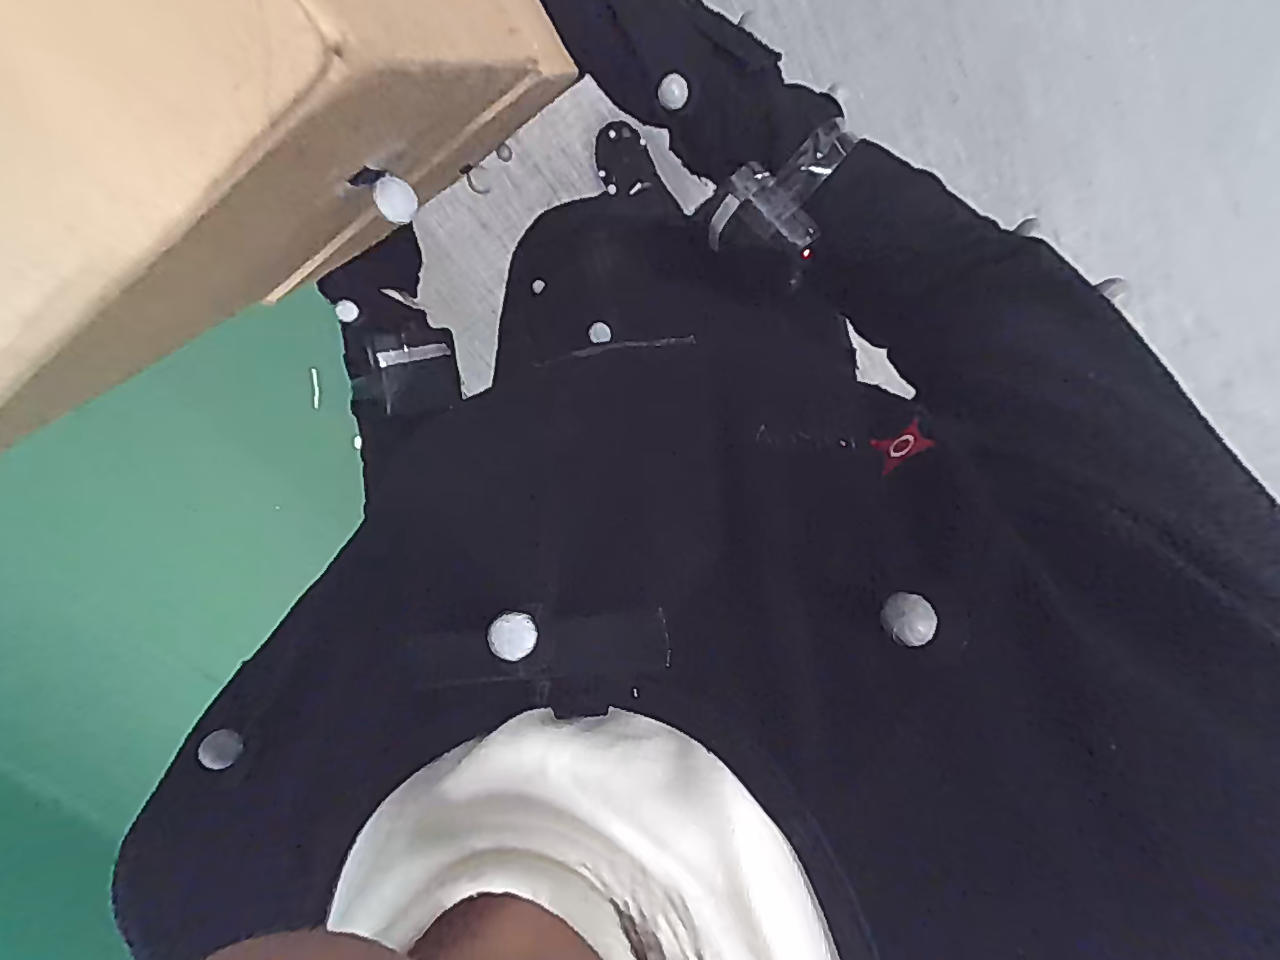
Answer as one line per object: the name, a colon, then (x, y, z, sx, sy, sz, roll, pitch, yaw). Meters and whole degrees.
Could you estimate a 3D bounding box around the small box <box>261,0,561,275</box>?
small box: (-0.152, -0.238, 0.259, 0.179, 0.176, 0.168, -26, 122, 19)

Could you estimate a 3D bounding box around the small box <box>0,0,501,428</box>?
small box: (-0.154, -0.141, 0.130, 0.179, 0.176, 0.168, -26, 122, 21)

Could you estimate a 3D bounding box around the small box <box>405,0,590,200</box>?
small box: (-0.150, -0.343, 0.385, 0.179, 0.176, 0.168, -31, 122, 22)
